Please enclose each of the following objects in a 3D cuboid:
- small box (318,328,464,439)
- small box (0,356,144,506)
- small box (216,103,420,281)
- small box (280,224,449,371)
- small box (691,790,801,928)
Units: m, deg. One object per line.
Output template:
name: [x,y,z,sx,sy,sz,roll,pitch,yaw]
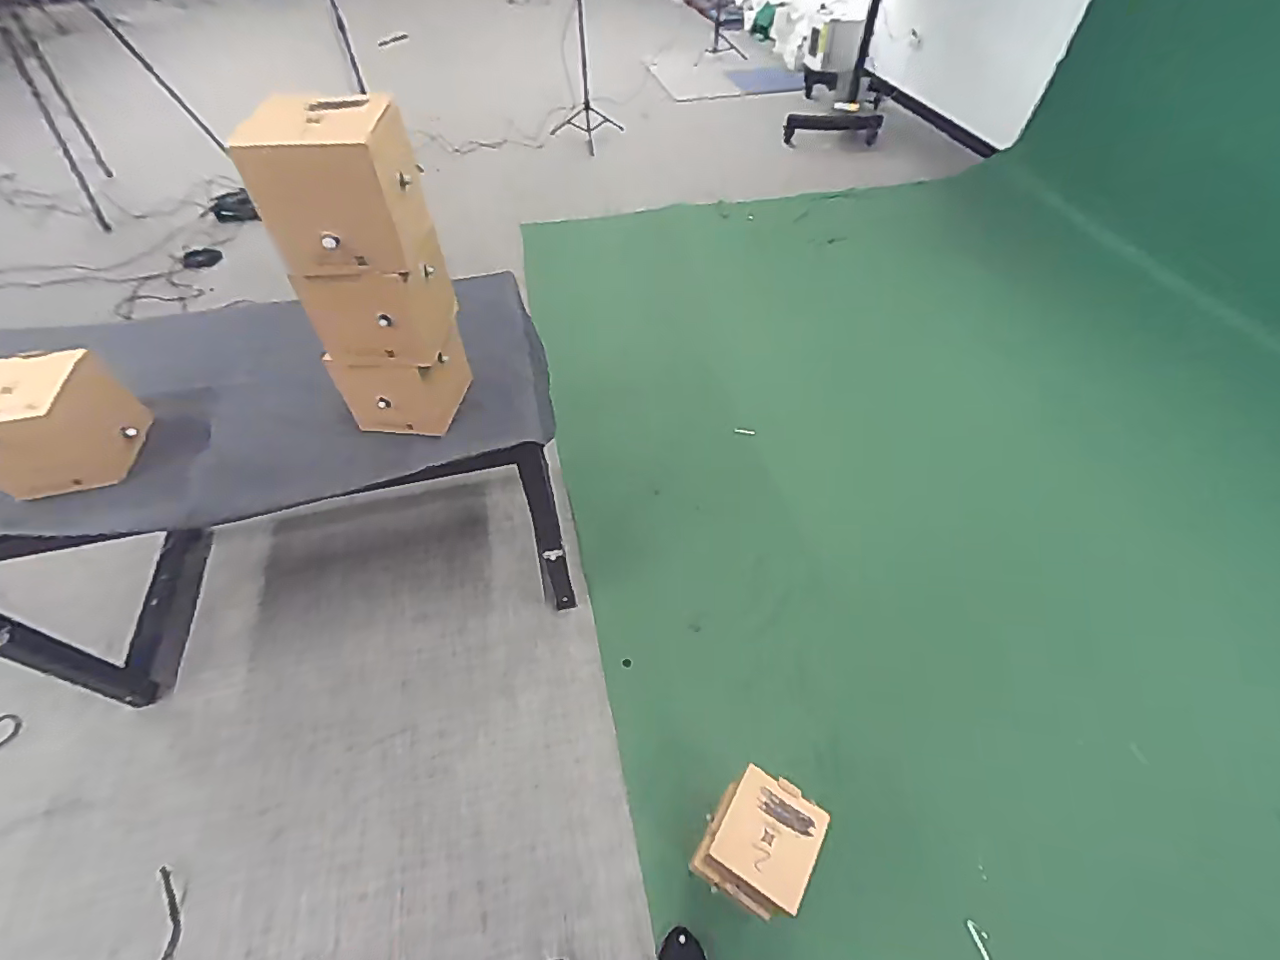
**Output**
small box: [-0.444,-0.193,1.001,0.168,0.176,0.179,5,49,4]
small box: [-1.010,-0.083,0.924,0.168,0.176,0.179,-11,51,-8]
small box: [-0.417,-0.394,0.743,0.168,0.176,0.179,-4,51,-3]
small box: [-0.425,-0.292,0.872,0.168,0.176,0.179,1,49,0]
small box: [0.218,0.800,1.142,0.168,0.176,0.179,26,55,20]
